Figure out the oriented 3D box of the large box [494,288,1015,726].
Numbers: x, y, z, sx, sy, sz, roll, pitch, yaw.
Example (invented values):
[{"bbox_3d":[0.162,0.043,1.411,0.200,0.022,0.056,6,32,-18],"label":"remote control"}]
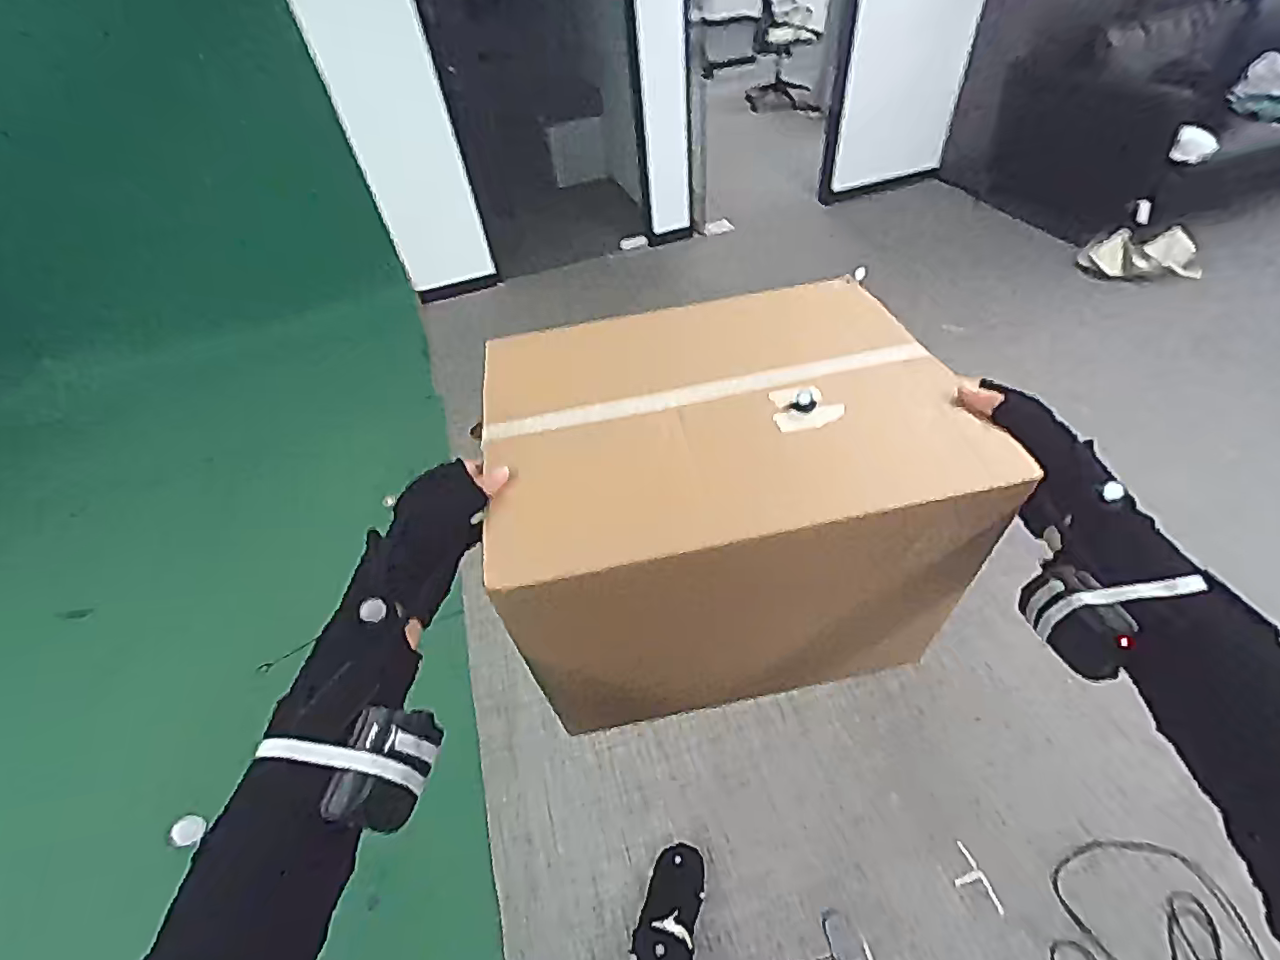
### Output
[{"bbox_3d":[0.075,0.029,0.601,0.408,0.320,0.320,-11,48,-3],"label":"large box"}]
